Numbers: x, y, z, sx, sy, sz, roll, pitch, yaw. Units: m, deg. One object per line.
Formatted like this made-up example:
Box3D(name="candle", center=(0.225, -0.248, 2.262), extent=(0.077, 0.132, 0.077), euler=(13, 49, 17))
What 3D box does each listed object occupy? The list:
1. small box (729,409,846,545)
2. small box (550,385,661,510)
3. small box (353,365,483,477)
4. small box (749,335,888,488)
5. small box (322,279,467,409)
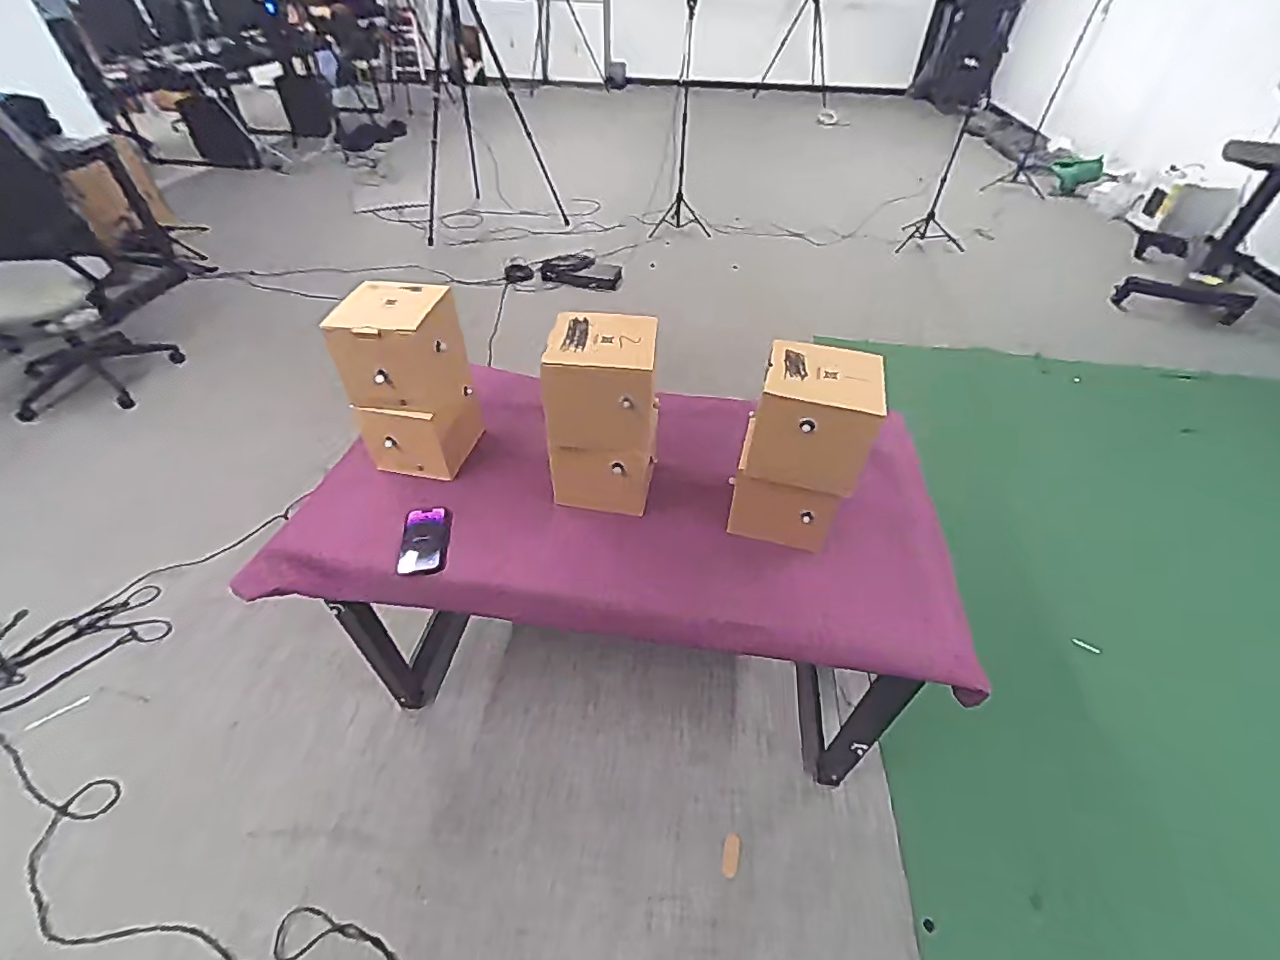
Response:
Box3D(name="small box", center=(0.272, -0.003, 0.995), extent=(0.179, 0.176, 0.168), euler=(12, 45, 12))
Box3D(name="small box", center=(-0.060, -0.060, 1.046), extent=(0.179, 0.176, 0.168), euler=(8, 45, 7))
Box3D(name="small box", center=(-0.440, -0.127, 1.110), extent=(0.168, 0.176, 0.179), euler=(8, 45, 8))
Box3D(name="small box", center=(0.279, -0.109, 0.869), extent=(0.179, 0.176, 0.168), euler=(12, 45, 11))
Box3D(name="small box", center=(-0.437, -0.250, 1.001), extent=(0.168, 0.176, 0.179), euler=(5, 45, 3))
